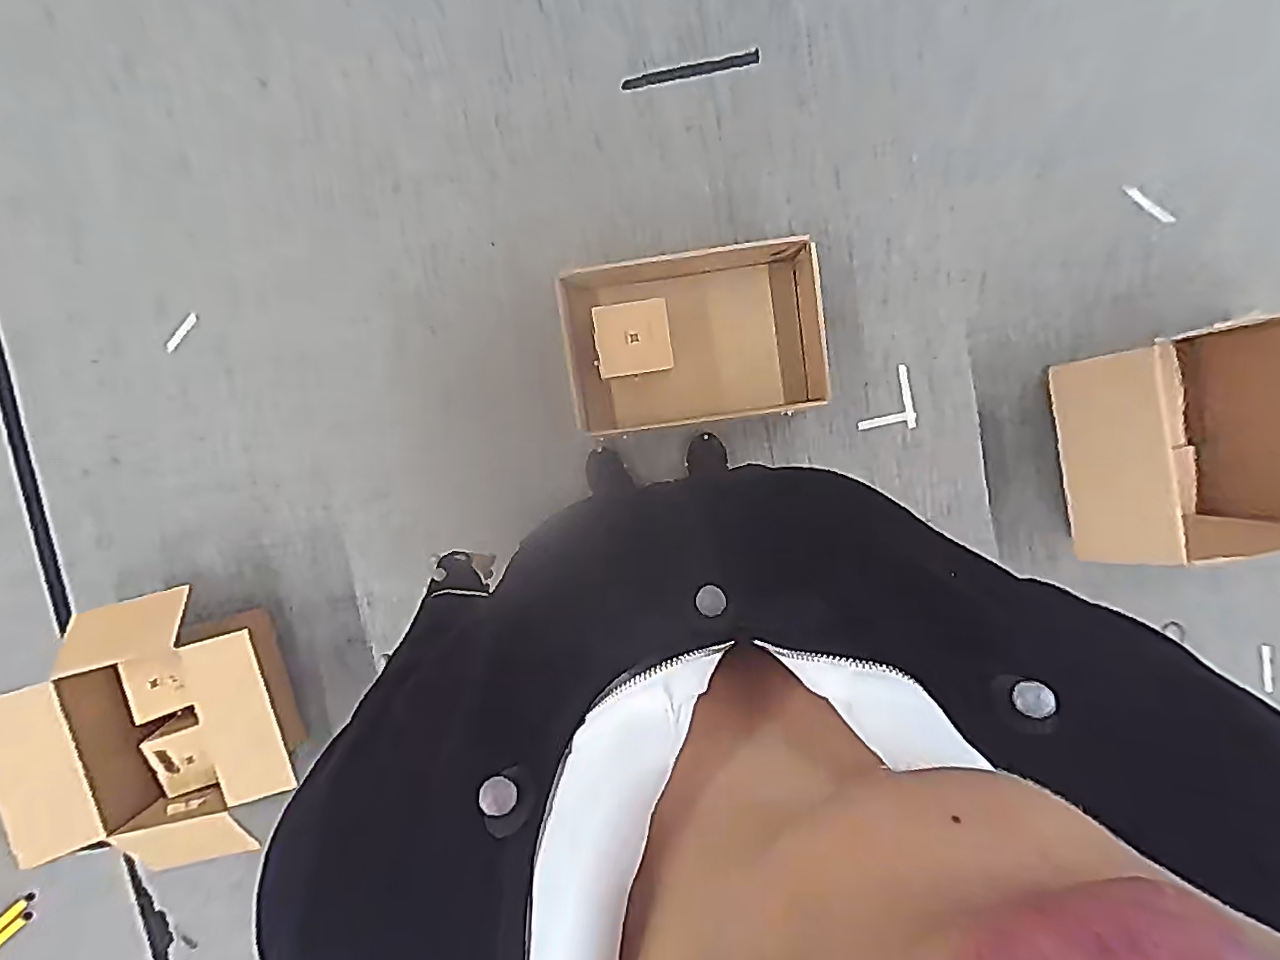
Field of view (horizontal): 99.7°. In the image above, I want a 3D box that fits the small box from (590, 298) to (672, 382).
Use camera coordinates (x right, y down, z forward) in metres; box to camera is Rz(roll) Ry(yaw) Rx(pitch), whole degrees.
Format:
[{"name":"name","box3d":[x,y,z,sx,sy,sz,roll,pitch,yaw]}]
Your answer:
[{"name":"small box","box3d":[-0.021,-0.339,1.338,0.179,0.176,0.168,-9,97,-1]}]
